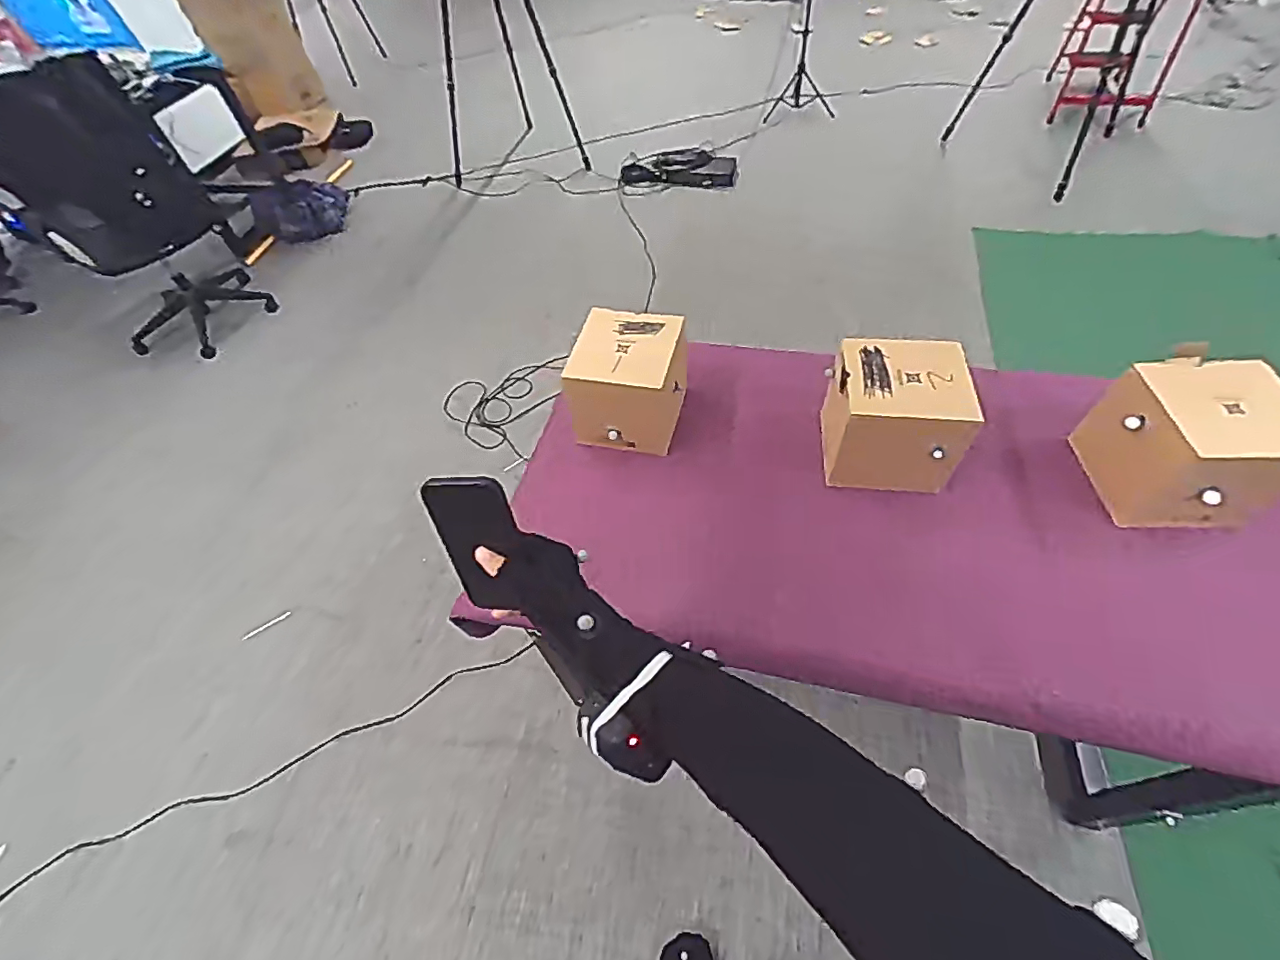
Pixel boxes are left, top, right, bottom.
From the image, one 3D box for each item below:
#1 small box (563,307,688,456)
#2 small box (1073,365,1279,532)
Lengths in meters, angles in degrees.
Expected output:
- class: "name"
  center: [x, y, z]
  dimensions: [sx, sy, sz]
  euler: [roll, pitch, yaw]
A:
- class: "small box"
  center: [-0.016, -0.169, 0.933]
  dimensions: [0.168, 0.176, 0.179]
  euler: [10, 56, 13]
- class: "small box"
  center: [0.769, -0.040, 0.761]
  dimensions: [0.168, 0.176, 0.179]
  euler: [0, 52, 6]
